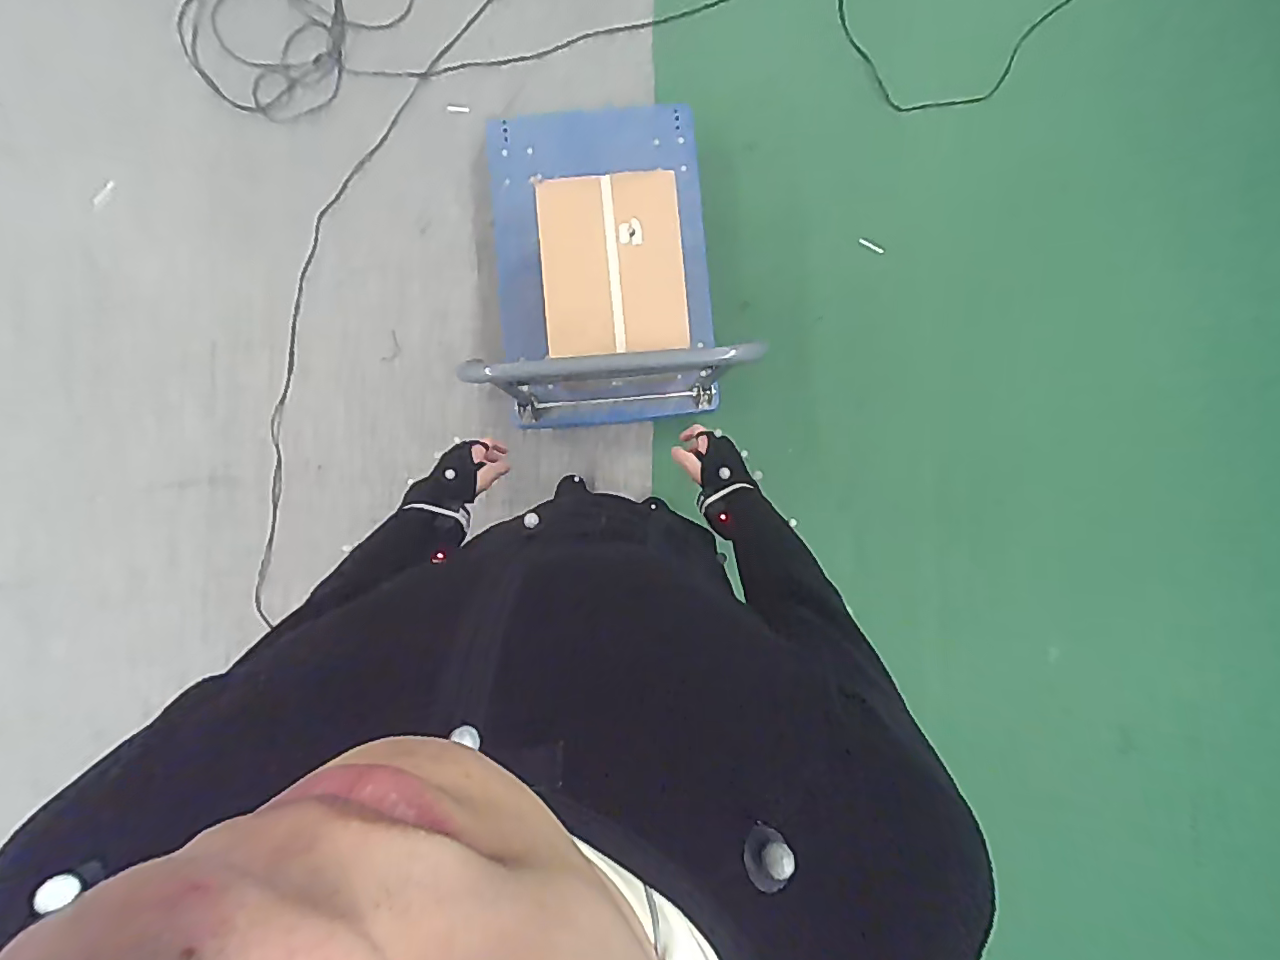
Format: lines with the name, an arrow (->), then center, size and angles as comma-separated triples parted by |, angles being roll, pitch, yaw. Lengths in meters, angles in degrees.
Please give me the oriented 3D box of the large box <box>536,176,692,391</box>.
large box -> -0.062, -0.459, 1.339 | 0.320, 0.320, 0.408 | -5, 87, -3
